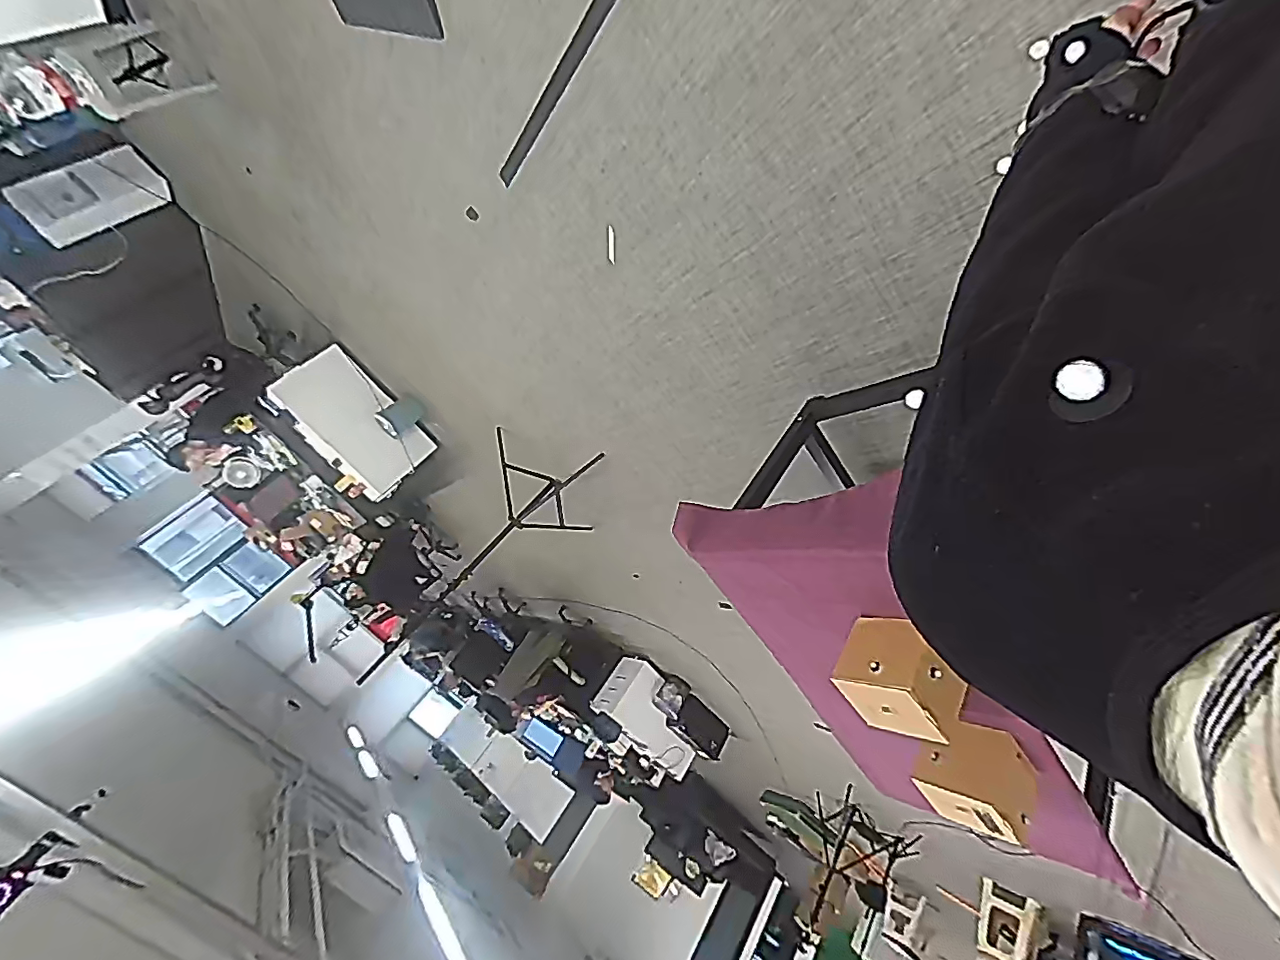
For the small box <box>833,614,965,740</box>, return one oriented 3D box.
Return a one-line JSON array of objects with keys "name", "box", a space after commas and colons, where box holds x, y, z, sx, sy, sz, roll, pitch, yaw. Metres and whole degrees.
[{"name": "small box", "box": [0.540, 0.394, 1.113, 0.168, 0.176, 0.179, 49, 150, -16]}]
